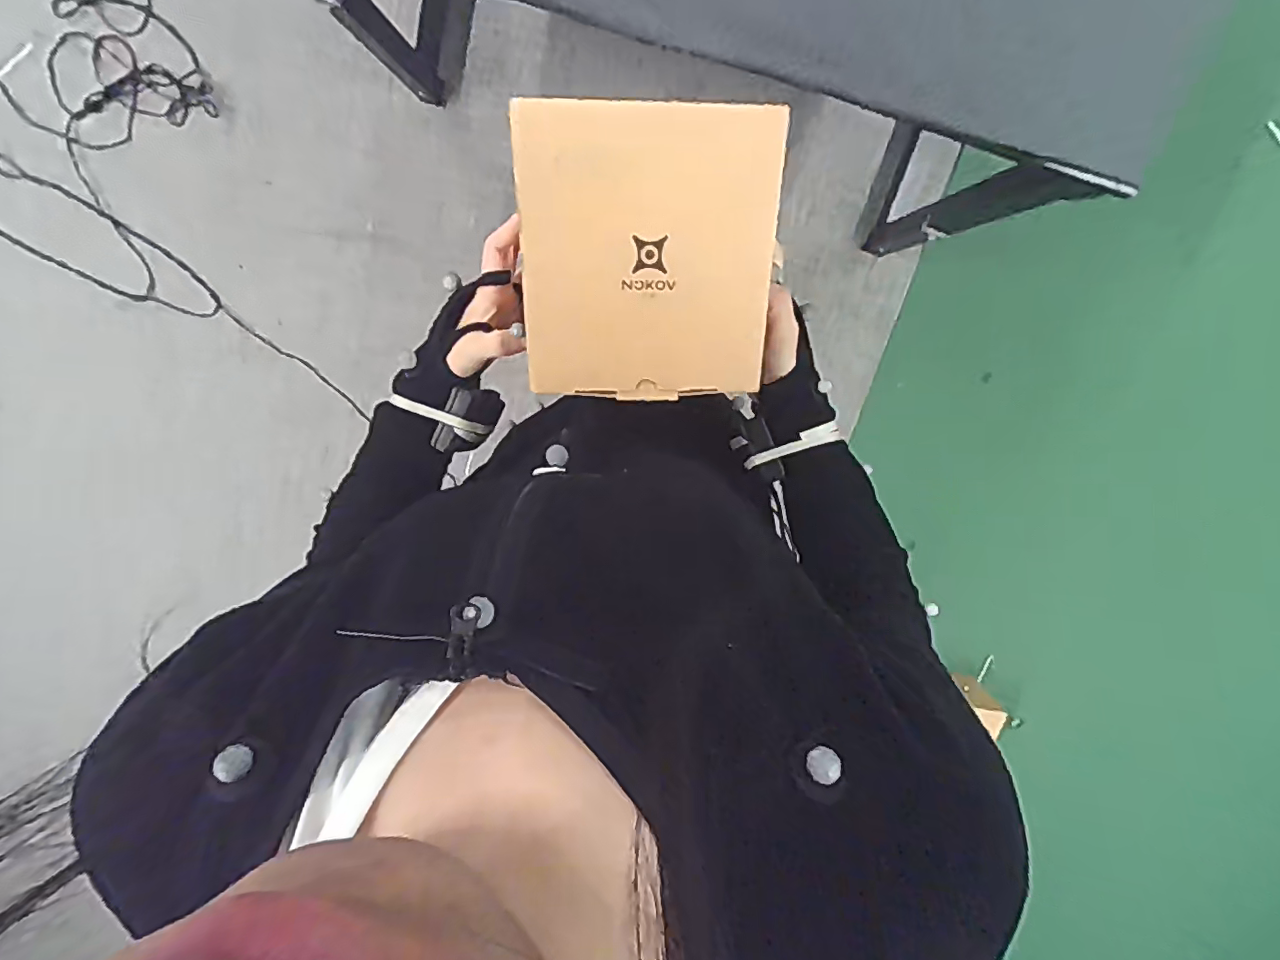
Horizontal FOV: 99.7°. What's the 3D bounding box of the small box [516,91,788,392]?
[{"bbox_3d":[-0.001,-0.176,0.420,0.168,0.176,0.179,-3,116,-5],"label":"small box"}]
